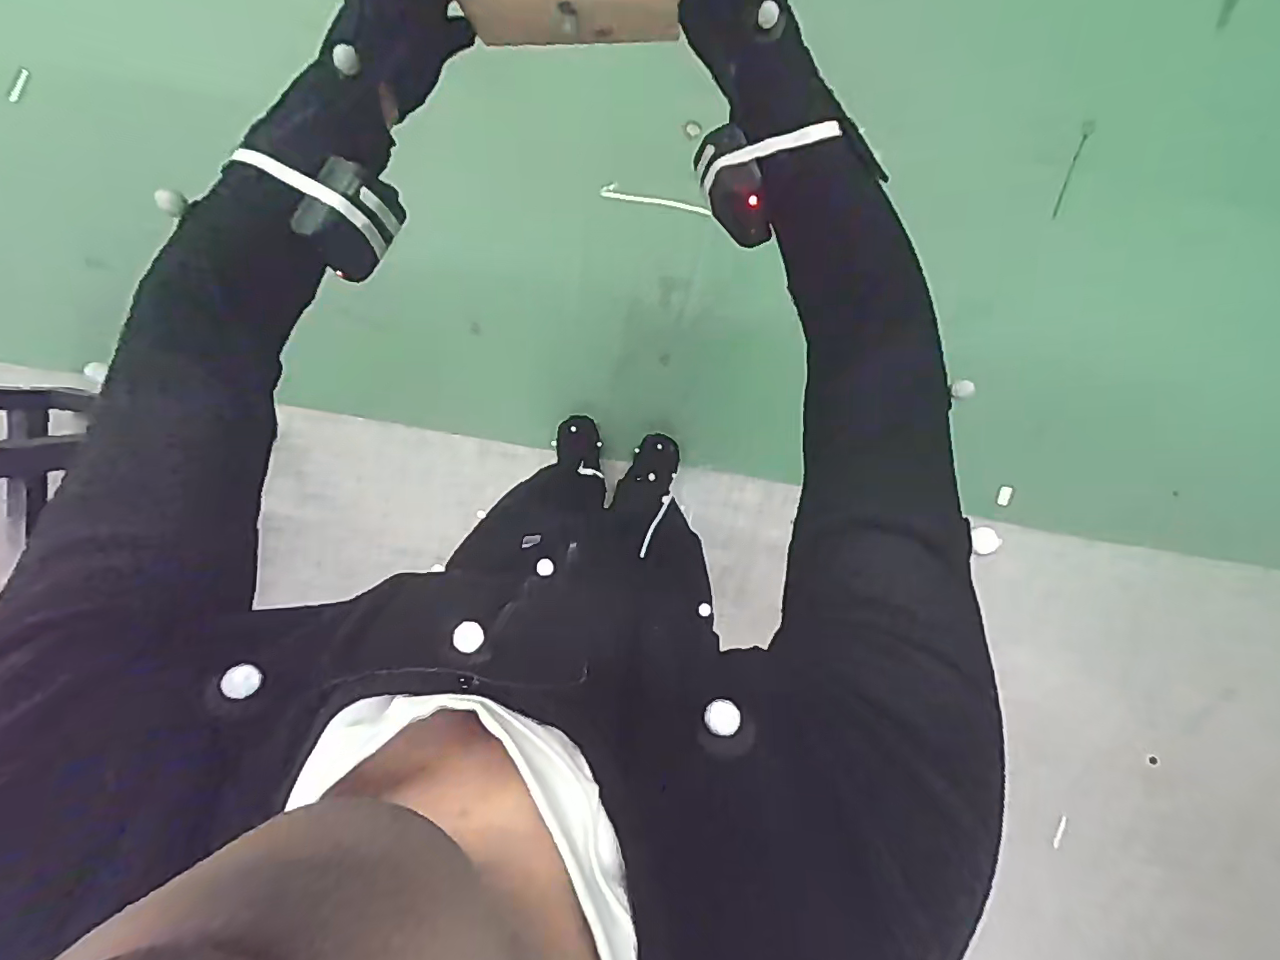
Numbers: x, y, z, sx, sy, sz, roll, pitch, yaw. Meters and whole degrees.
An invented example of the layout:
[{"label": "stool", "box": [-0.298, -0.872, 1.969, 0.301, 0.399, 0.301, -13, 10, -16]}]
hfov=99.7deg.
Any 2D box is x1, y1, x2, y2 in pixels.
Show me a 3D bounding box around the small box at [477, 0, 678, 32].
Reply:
[{"label": "small box", "box": [-0.053, -0.427, 0.340, 0.168, 0.176, 0.179, 1, 108, 2]}]
